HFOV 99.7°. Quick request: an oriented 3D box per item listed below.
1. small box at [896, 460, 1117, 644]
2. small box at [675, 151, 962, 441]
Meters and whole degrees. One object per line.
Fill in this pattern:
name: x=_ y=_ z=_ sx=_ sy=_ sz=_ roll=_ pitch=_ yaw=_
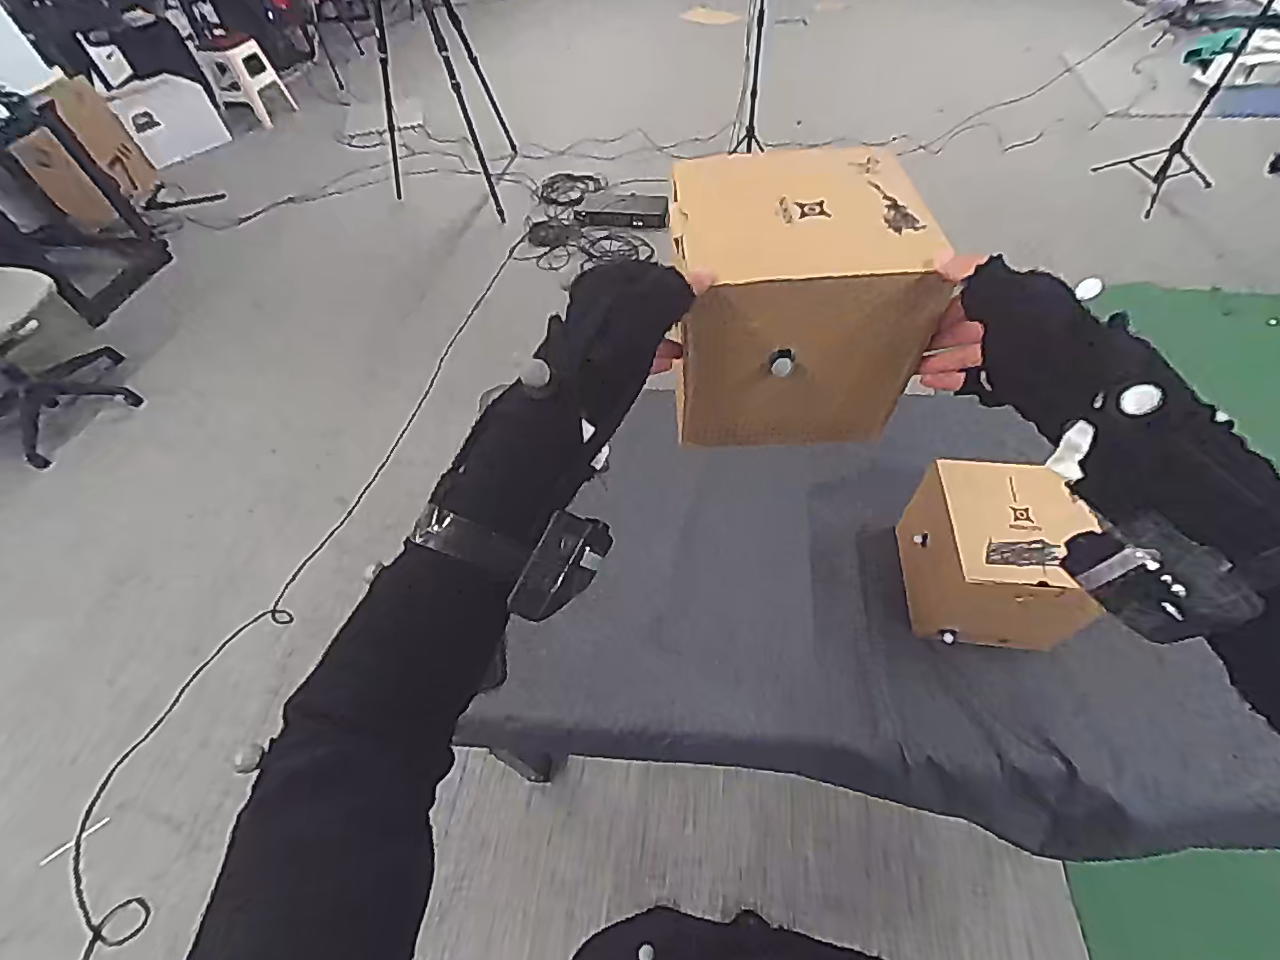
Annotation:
small box: x=0.453 y=0.097 z=0.706 sx=0.168 sy=0.176 sz=0.179 roll=5 pitch=52 yaw=7
small box: x=0.122 y=-0.146 z=0.454 sx=0.179 sy=0.176 sz=0.168 roll=-3 pitch=55 yaw=1
